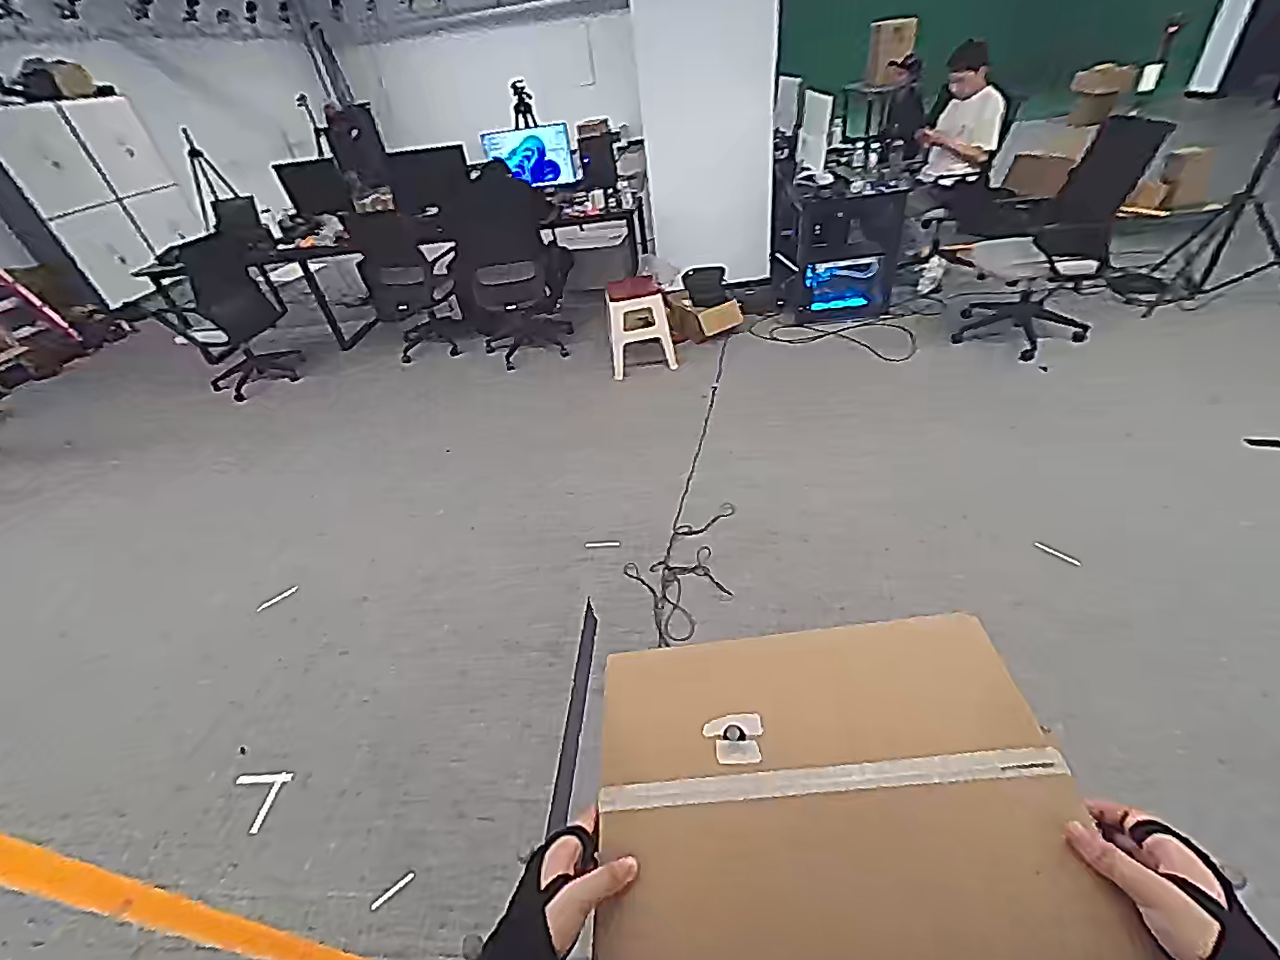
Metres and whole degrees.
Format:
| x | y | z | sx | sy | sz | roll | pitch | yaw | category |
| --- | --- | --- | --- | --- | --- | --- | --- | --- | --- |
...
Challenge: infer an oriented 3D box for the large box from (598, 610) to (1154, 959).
| x | y | z | sx | sy | sz | roll | pitch | yaw | category |
| --- | --- | --- | --- | --- | --- | --- | --- | --- | --- |
| 0.194 | 0.387 | 0.594 | 0.408 | 0.320 | 0.320 | -11 | 38 | 9 | large box |
